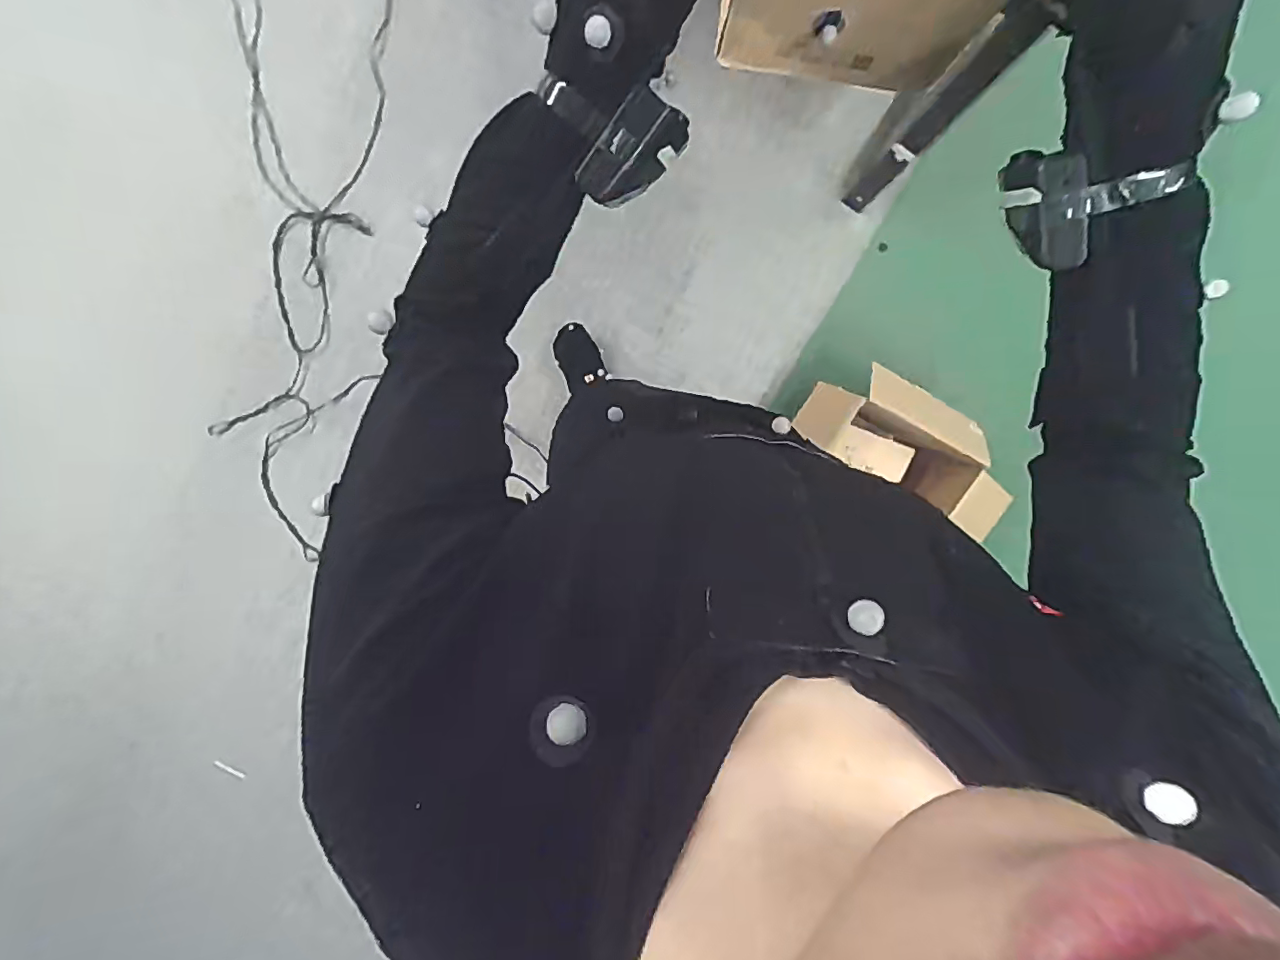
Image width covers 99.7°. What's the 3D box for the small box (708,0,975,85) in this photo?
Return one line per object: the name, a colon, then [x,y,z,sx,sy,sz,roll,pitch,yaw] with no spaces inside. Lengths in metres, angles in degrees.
small box: [0.140,-0.392,0.328,0.168,0.176,0.179,6,96,-2]
